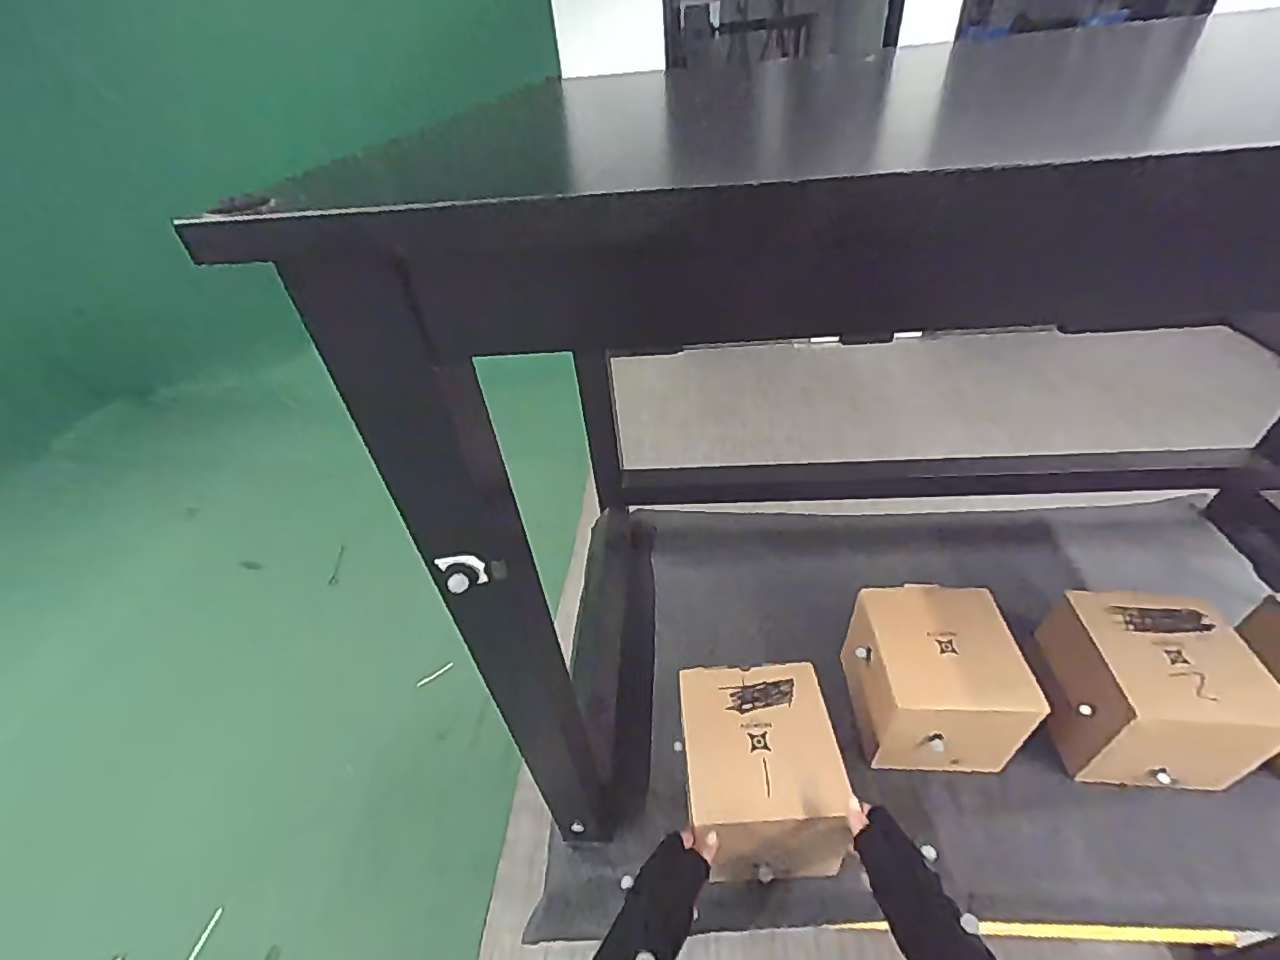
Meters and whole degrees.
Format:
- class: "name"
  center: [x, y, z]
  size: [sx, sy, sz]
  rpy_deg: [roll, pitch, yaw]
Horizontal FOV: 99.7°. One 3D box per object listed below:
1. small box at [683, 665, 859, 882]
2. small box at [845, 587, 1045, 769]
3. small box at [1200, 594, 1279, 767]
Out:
- class: "small box"
  center: [0.139, 0.349, 0.649]
  size: [0.168, 0.176, 0.179]
  rpy_deg: [-5, 38, 2]
- class: "small box"
  center: [0.386, 0.266, 0.725]
  size: [0.168, 0.176, 0.179]
  rpy_deg: [-2, 39, 5]
- class: "small box"
  center: [0.875, 0.259, 0.662]
  size: [0.168, 0.176, 0.179]
  rpy_deg: [-2, 39, 5]
